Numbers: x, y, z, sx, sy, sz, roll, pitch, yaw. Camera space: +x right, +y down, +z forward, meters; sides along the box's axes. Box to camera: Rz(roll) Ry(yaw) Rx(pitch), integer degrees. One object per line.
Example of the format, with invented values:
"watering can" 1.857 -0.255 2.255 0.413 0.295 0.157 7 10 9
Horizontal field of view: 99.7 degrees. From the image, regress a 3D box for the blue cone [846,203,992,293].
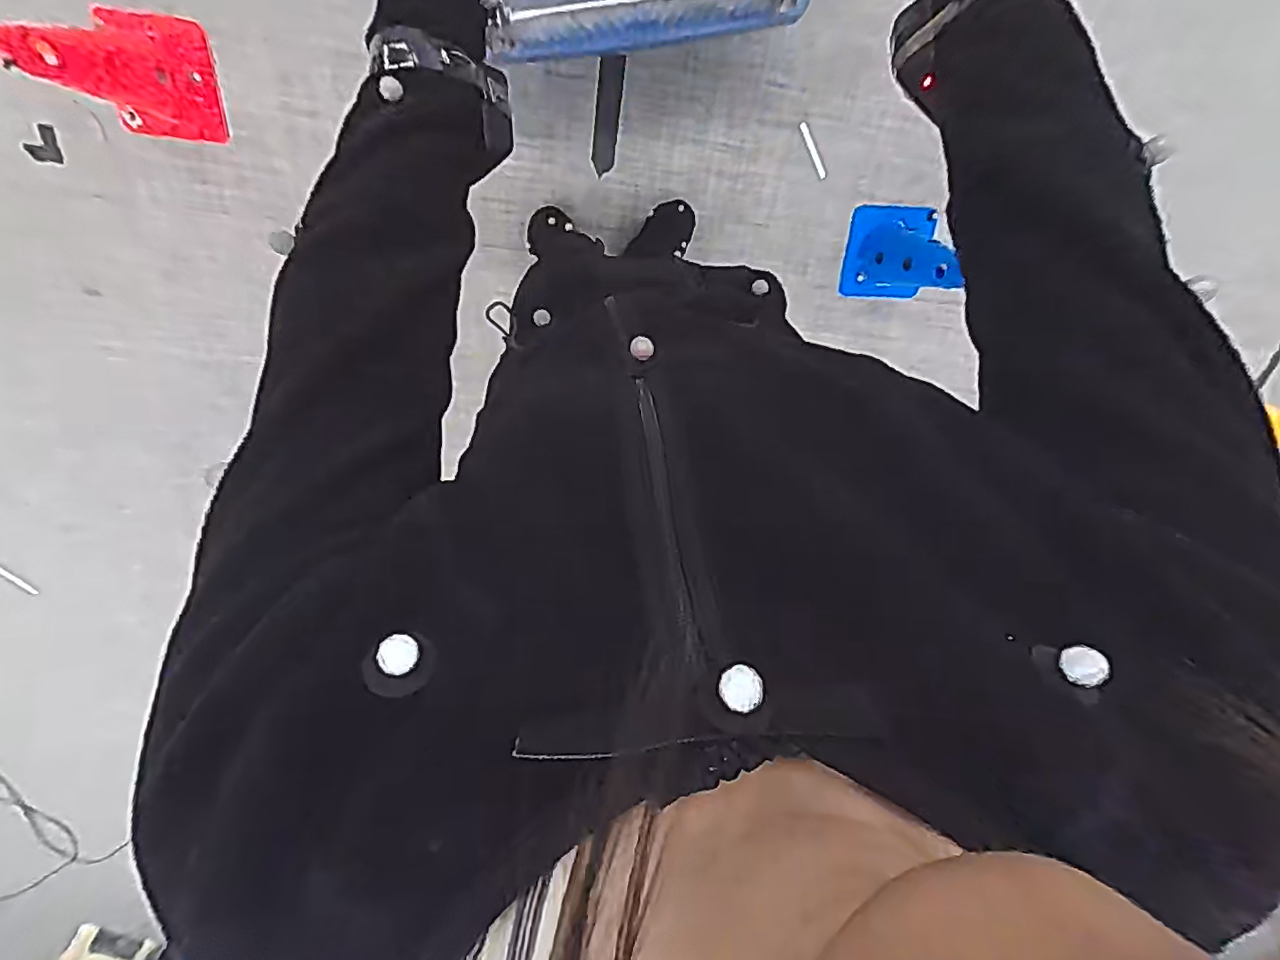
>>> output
"blue cone" 0.594 -0.461 1.121 0.193 0.380 0.192 2 118 -5
